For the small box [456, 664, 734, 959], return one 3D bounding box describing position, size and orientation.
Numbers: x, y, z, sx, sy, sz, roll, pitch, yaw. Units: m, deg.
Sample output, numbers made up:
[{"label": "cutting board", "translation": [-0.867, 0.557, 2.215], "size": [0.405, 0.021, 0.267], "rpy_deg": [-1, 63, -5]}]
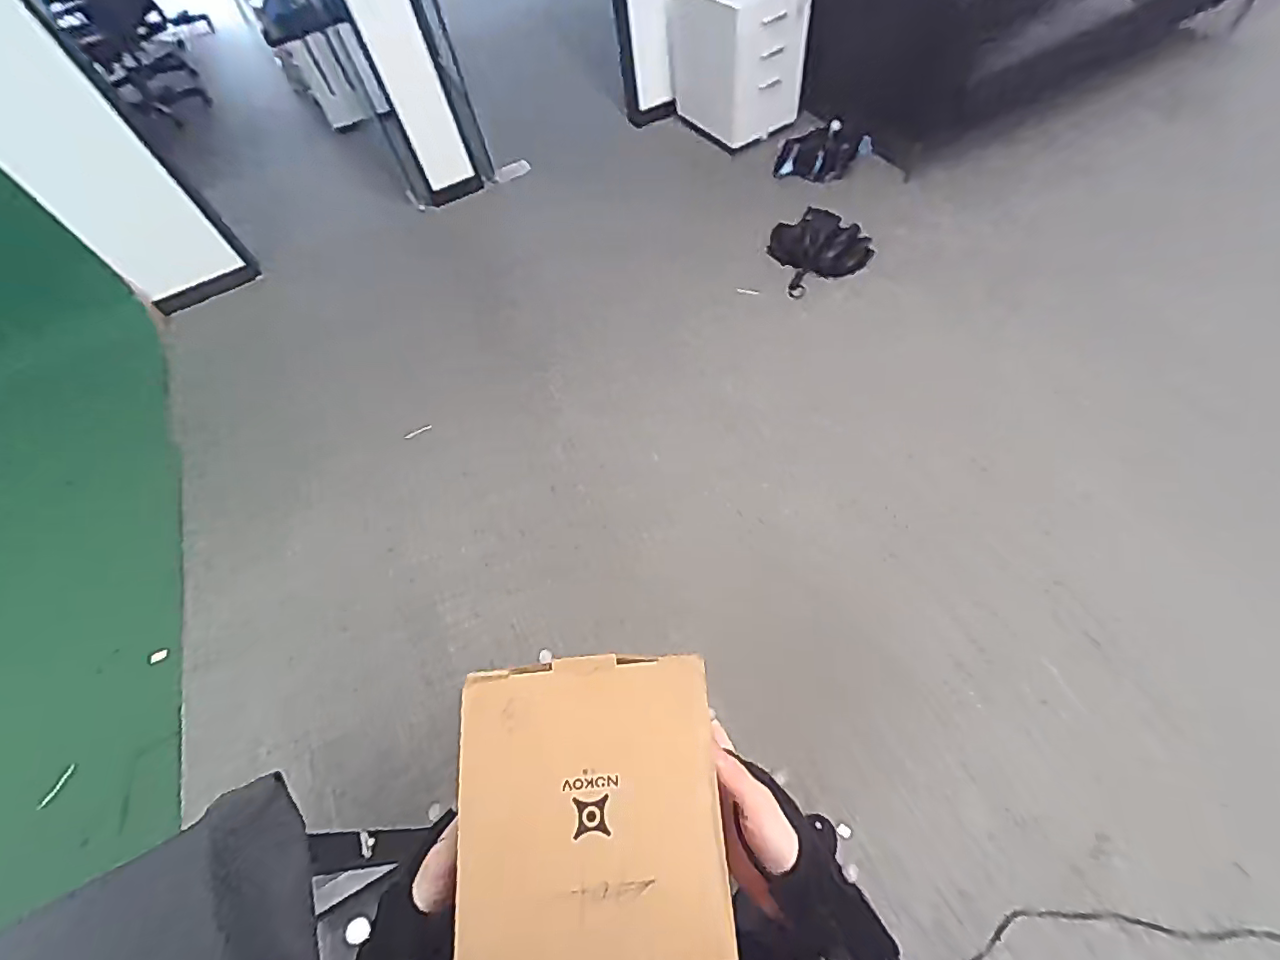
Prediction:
[{"label": "small box", "translation": [-0.034, 0.240, 0.415], "size": [0.168, 0.176, 0.179], "rpy_deg": [-2, 71, -4]}]
